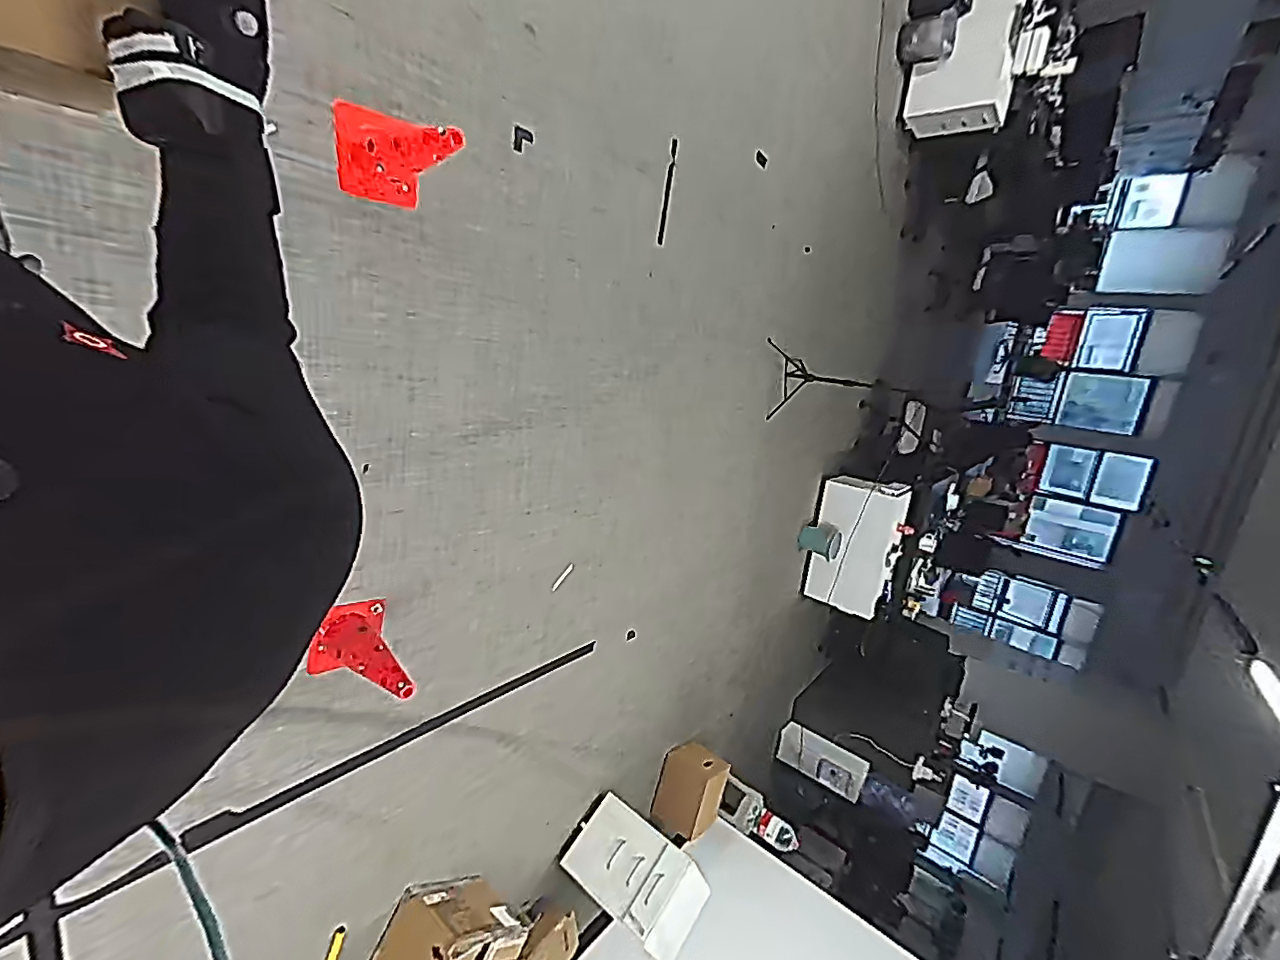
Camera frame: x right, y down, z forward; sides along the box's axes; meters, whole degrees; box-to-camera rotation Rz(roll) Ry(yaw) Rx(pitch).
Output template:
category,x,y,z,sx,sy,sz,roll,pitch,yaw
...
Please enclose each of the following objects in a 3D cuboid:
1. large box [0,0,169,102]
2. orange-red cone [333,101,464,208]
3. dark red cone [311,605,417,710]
category,x,y,z,sx,sy,sz,roll,pitch,yaw
large box,-0.549,-0.439,0.267,0.408,0.320,0.320,-14,122,-50
orange-red cone,-0.524,-0.763,1.242,0.198,0.360,0.199,-13,112,-50
dark red cone,-0.715,0.504,1.464,0.201,0.394,0.202,1,103,-51
